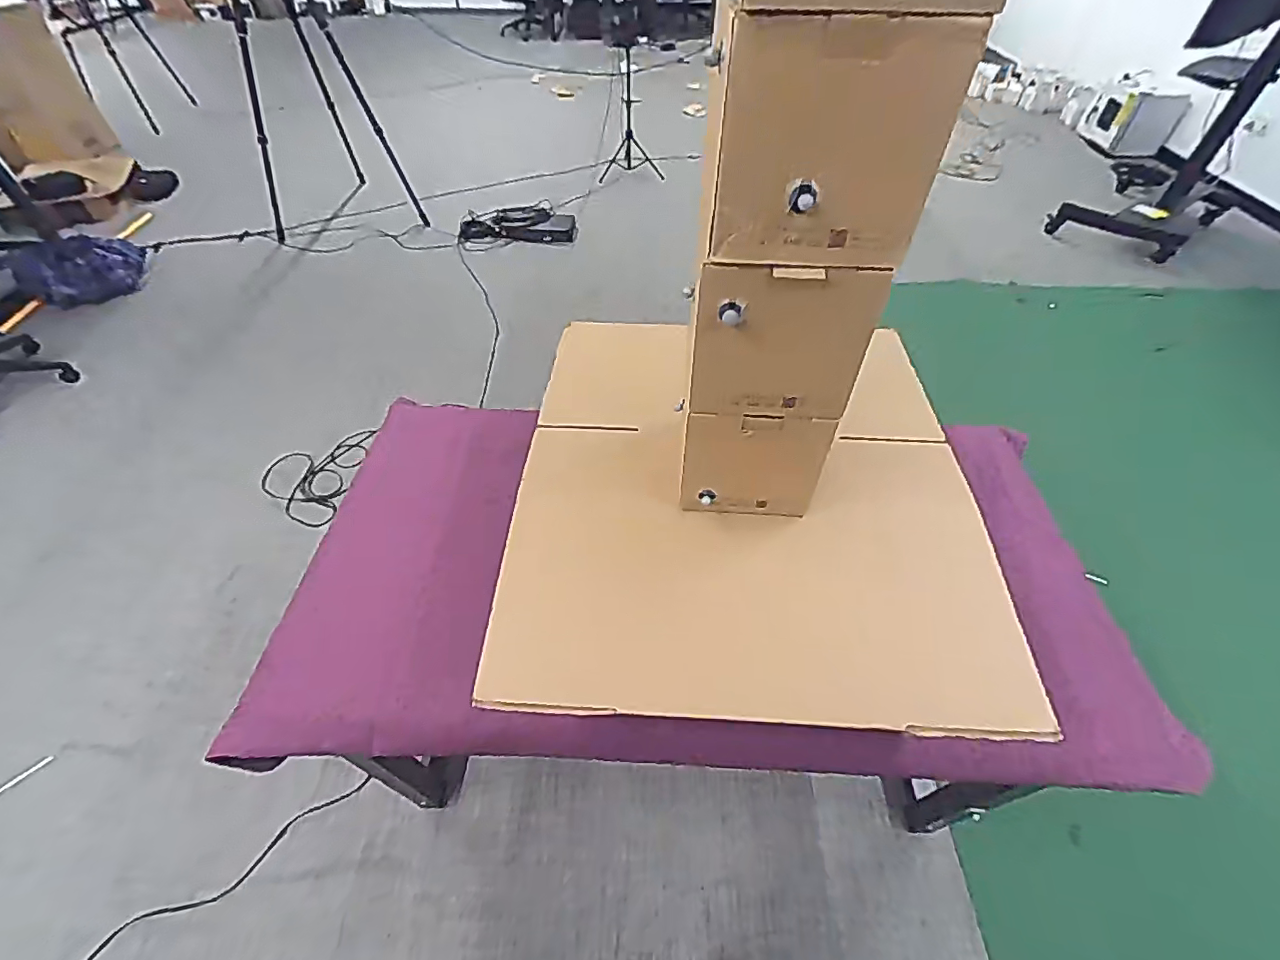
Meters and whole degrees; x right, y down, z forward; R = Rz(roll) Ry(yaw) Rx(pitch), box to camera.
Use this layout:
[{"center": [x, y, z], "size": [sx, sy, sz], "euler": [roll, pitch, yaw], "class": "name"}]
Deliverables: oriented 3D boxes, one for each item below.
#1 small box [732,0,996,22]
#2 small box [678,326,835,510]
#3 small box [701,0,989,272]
[{"center": [0.144, -0.407, 0.335], "size": [0.168, 0.176, 0.179], "euler": [1, 48, 0], "class": "small box"}, {"center": [0.138, -0.078, 0.700], "size": [0.168, 0.176, 0.179], "euler": [3, 48, 2], "class": "small box"}, {"center": [0.143, -0.298, 0.459], "size": [0.168, 0.176, 0.179], "euler": [2, 48, 1], "class": "small box"}]
